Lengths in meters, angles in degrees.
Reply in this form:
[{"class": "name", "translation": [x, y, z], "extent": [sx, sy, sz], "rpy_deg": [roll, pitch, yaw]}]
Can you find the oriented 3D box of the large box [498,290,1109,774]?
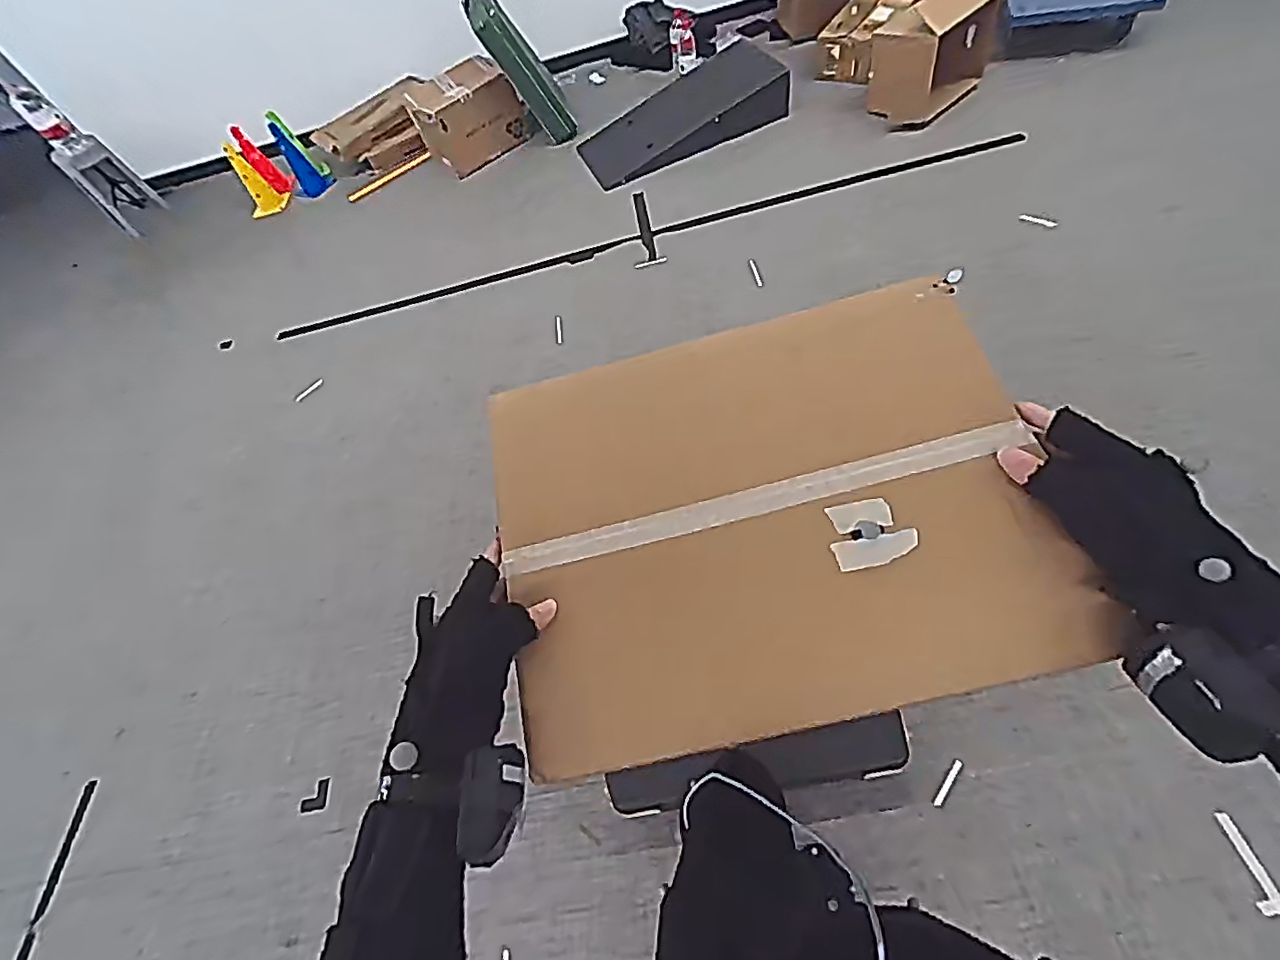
[{"class": "large box", "translation": [0.113, 0.075, 0.563], "extent": [0.408, 0.320, 0.320], "rpy_deg": [-15, 68, 4]}]
